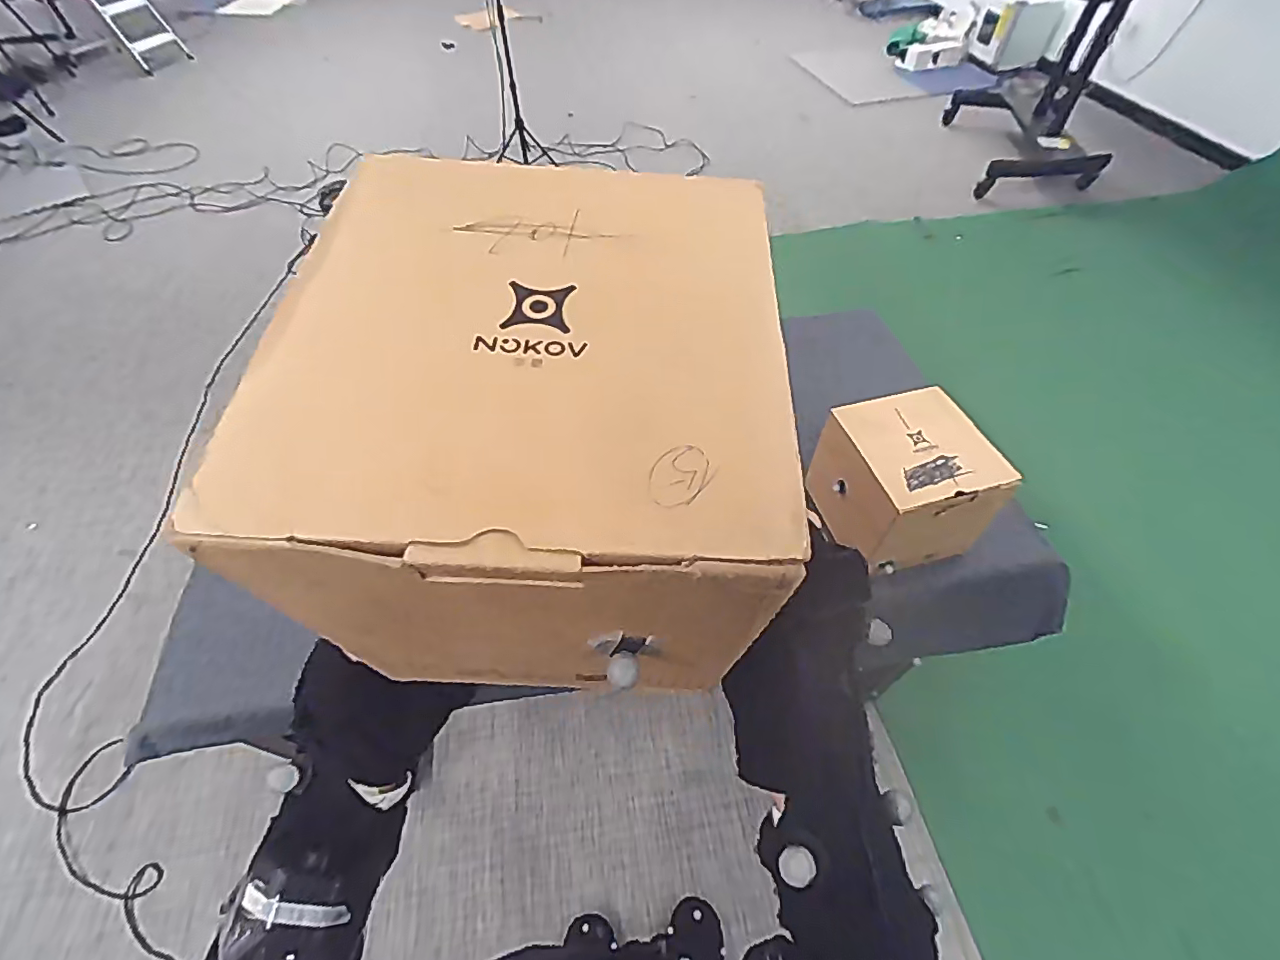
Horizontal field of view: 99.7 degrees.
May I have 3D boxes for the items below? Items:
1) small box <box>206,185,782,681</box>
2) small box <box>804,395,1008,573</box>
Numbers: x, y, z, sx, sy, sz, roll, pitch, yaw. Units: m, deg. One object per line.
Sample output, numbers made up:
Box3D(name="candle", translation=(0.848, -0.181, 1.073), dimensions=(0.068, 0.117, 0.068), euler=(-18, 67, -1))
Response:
Box3D(name="small box", translation=(-0.041, -0.009, 0.262), dimensions=(0.168, 0.176, 0.179), euler=(3, 57, -3))
Box3D(name="small box", translation=(0.351, 0.013, 0.755), dimensions=(0.168, 0.176, 0.179), euler=(-12, 51, -8))
